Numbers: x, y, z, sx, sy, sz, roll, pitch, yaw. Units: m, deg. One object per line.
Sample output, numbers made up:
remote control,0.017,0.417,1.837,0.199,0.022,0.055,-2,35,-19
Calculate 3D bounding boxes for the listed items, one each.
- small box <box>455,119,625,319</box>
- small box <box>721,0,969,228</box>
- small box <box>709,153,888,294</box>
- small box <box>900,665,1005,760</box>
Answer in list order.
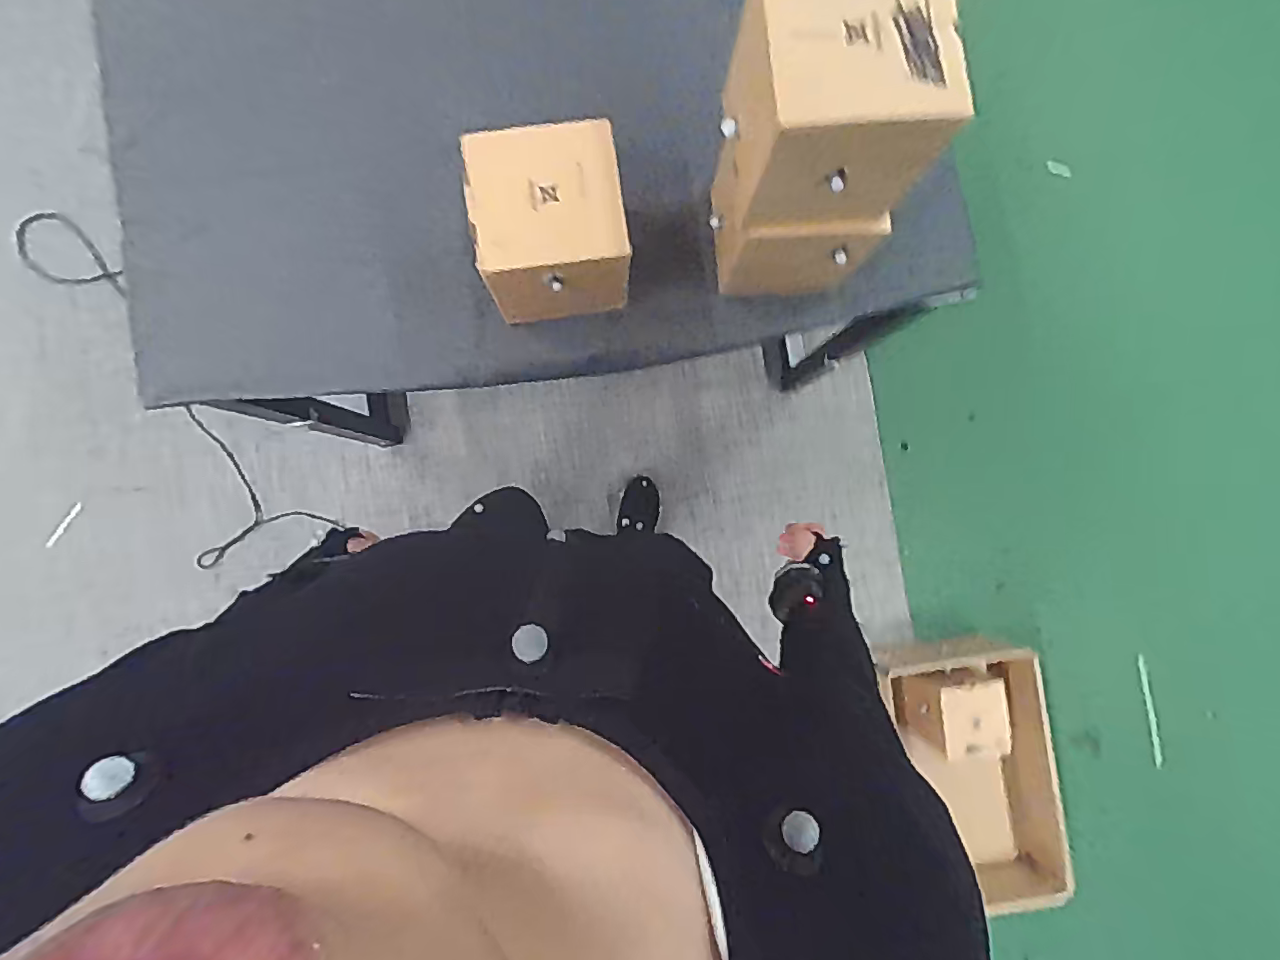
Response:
small box,-0.117,-0.319,0.692,0.179,0.176,0.168,-9,88,-5
small box,0.189,-0.378,0.546,0.179,0.176,0.168,-5,86,-2
small box,0.195,-0.357,0.709,0.179,0.176,0.168,-3,86,-3
small box,0.795,0.587,1.393,0.168,0.176,0.179,-6,88,-3
